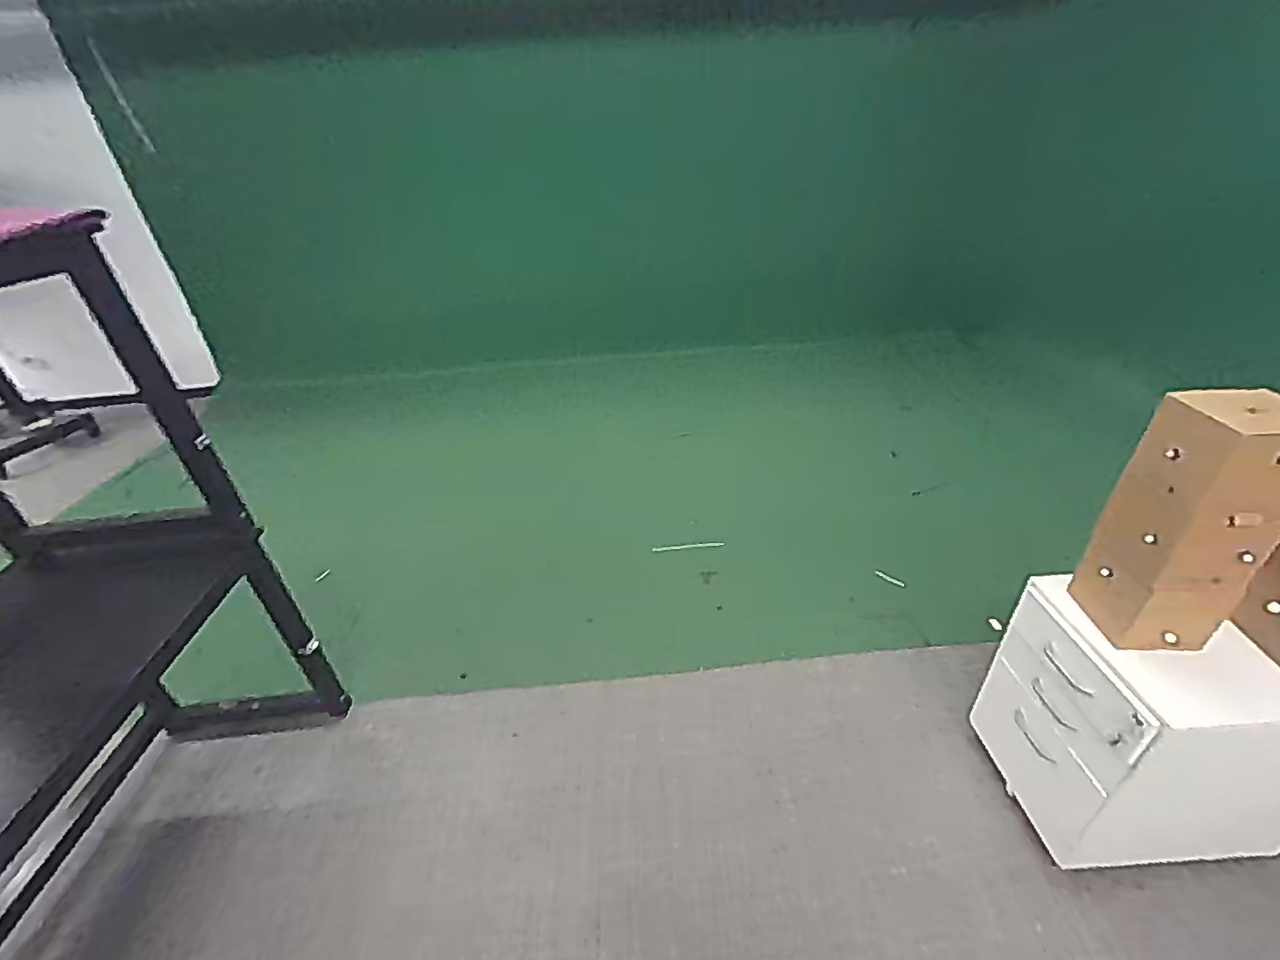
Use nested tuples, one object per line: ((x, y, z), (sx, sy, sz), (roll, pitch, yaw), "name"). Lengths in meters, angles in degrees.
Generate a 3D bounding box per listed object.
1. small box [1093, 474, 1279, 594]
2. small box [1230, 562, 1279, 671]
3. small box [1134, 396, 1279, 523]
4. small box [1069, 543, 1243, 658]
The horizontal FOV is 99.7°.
((1.036, 0.103, 1.039), (0.168, 0.176, 0.179), (0, 31, 4), "small box")
((1.315, 0.278, 1.033), (0.168, 0.176, 0.179), (-1, 31, 6), "small box")
((1.031, -0.037, 0.952), (0.179, 0.176, 0.168), (0, 33, 3), "small box")
((1.048, 0.242, 1.122), (0.168, 0.176, 0.179), (-1, 33, 5), "small box")
